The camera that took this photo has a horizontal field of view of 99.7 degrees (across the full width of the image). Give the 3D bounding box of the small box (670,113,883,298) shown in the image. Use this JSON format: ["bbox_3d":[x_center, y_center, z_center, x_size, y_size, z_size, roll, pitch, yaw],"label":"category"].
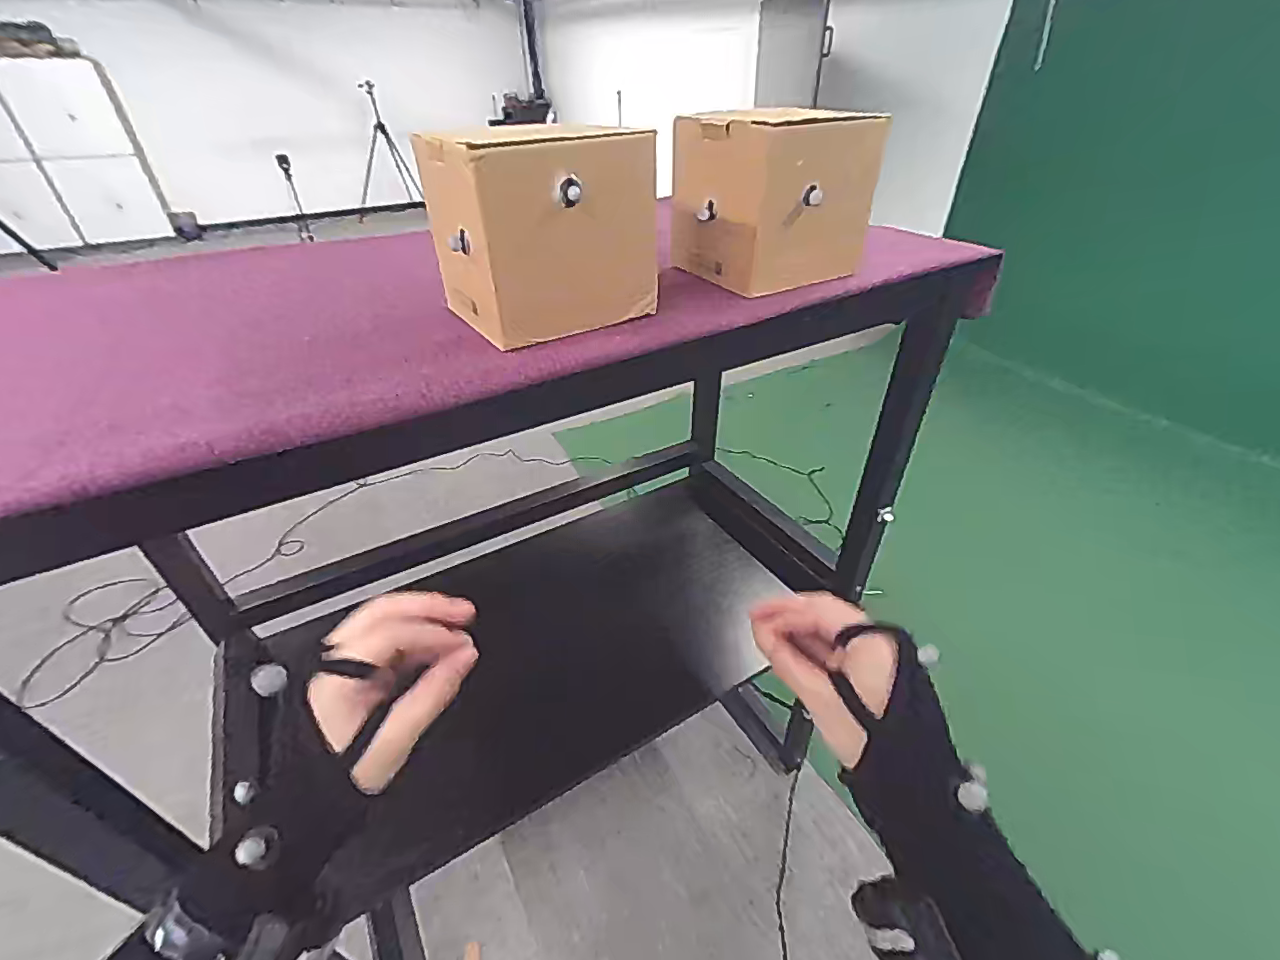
[{"bbox_3d":[0.153,-0.332,0.651,0.179,0.176,0.168,-22,42,-23],"label":"small box"}]

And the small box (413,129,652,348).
[{"bbox_3d":[-0.099,-0.246,0.542,0.179,0.176,0.168,-22,41,-26],"label":"small box"}]
